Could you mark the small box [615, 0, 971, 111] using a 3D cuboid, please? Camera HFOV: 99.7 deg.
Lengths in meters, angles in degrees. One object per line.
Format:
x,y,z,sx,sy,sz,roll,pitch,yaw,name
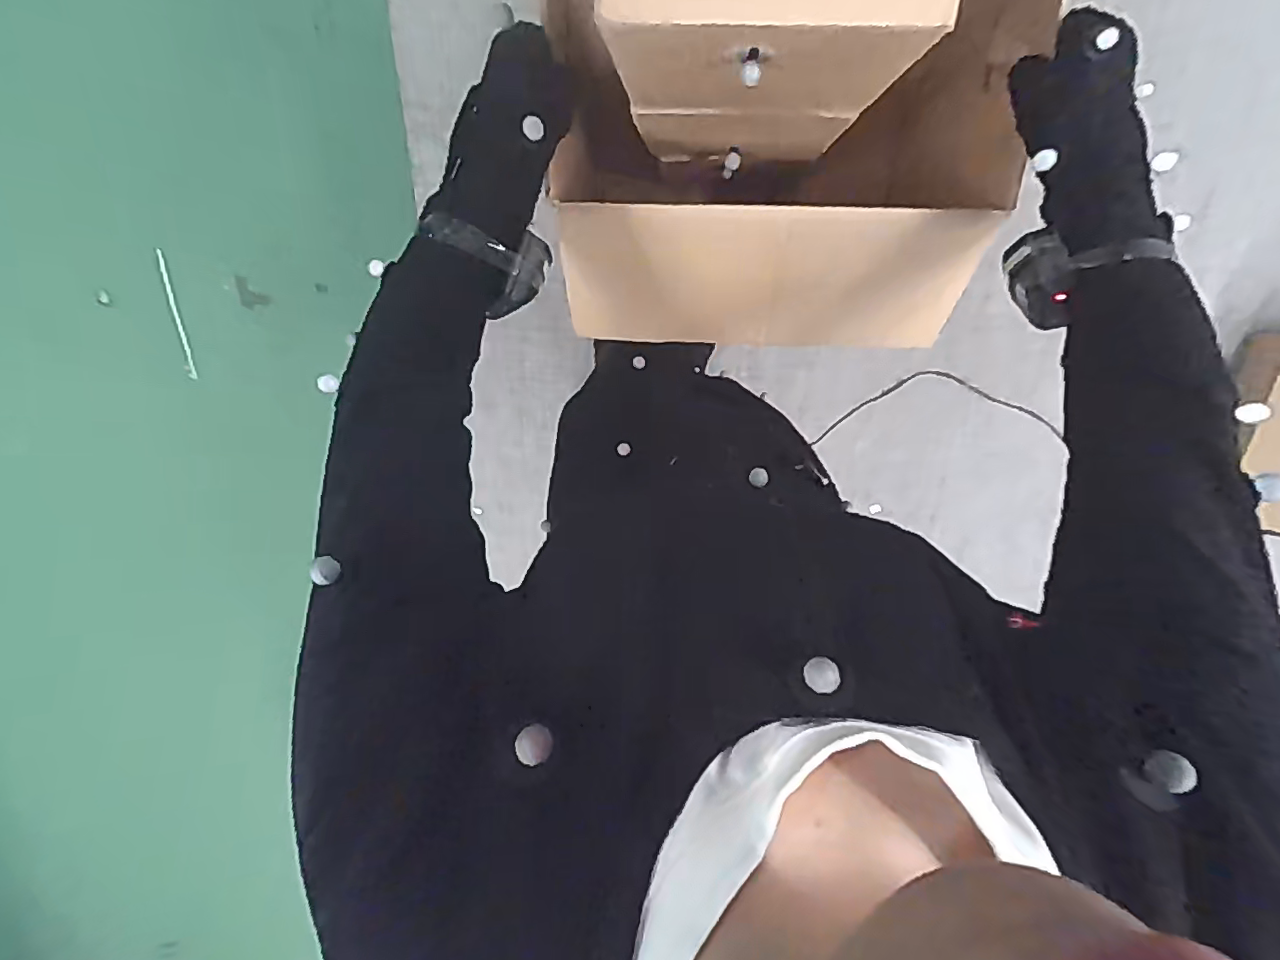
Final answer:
0.083,-0.331,0.315,0.179,0.176,0.168,3,112,4,small box
